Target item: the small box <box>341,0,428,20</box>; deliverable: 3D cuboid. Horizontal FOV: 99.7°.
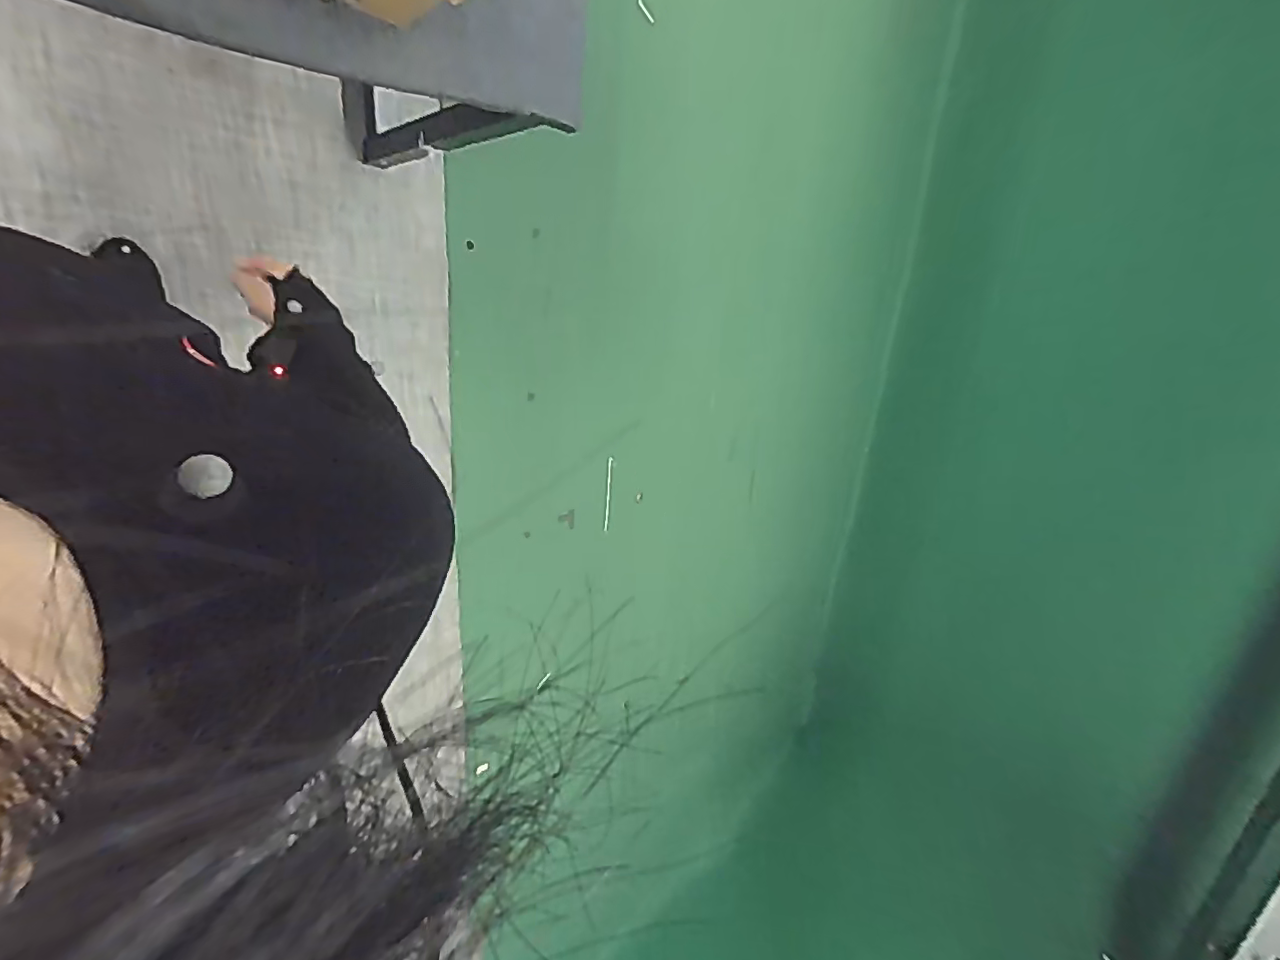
[{"bbox_3d":[-0.279,-0.591,0.509,0.168,0.176,0.179,-11,113,-43],"label":"small box"}]
